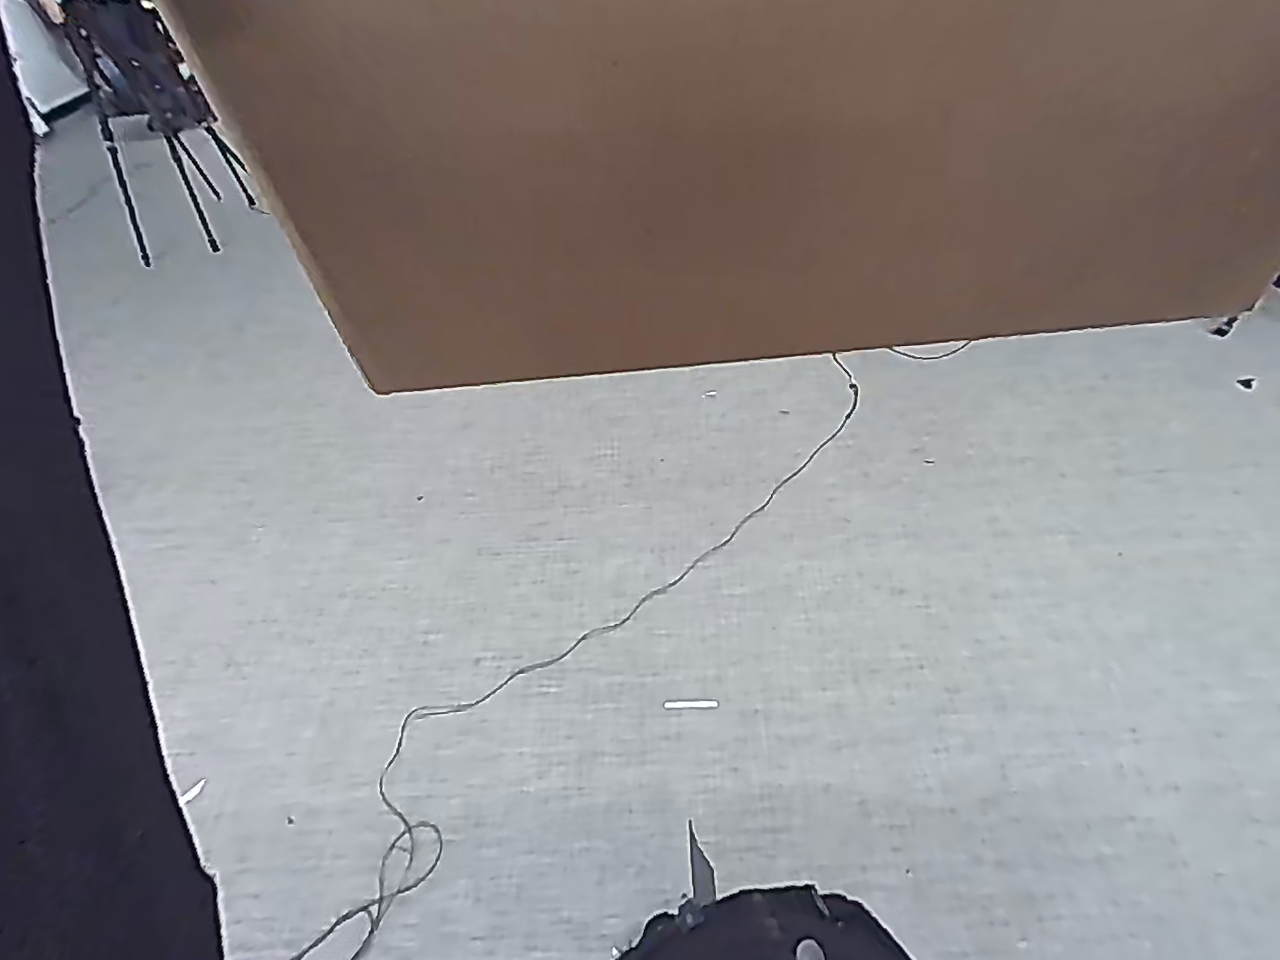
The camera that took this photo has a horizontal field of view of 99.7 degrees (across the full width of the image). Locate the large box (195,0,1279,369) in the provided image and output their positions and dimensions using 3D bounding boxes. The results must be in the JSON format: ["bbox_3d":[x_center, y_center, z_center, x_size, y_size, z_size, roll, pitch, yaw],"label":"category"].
[{"bbox_3d":[0.052,-0.277,0.248,0.408,0.320,0.320,-5,47,0],"label":"large box"}]
